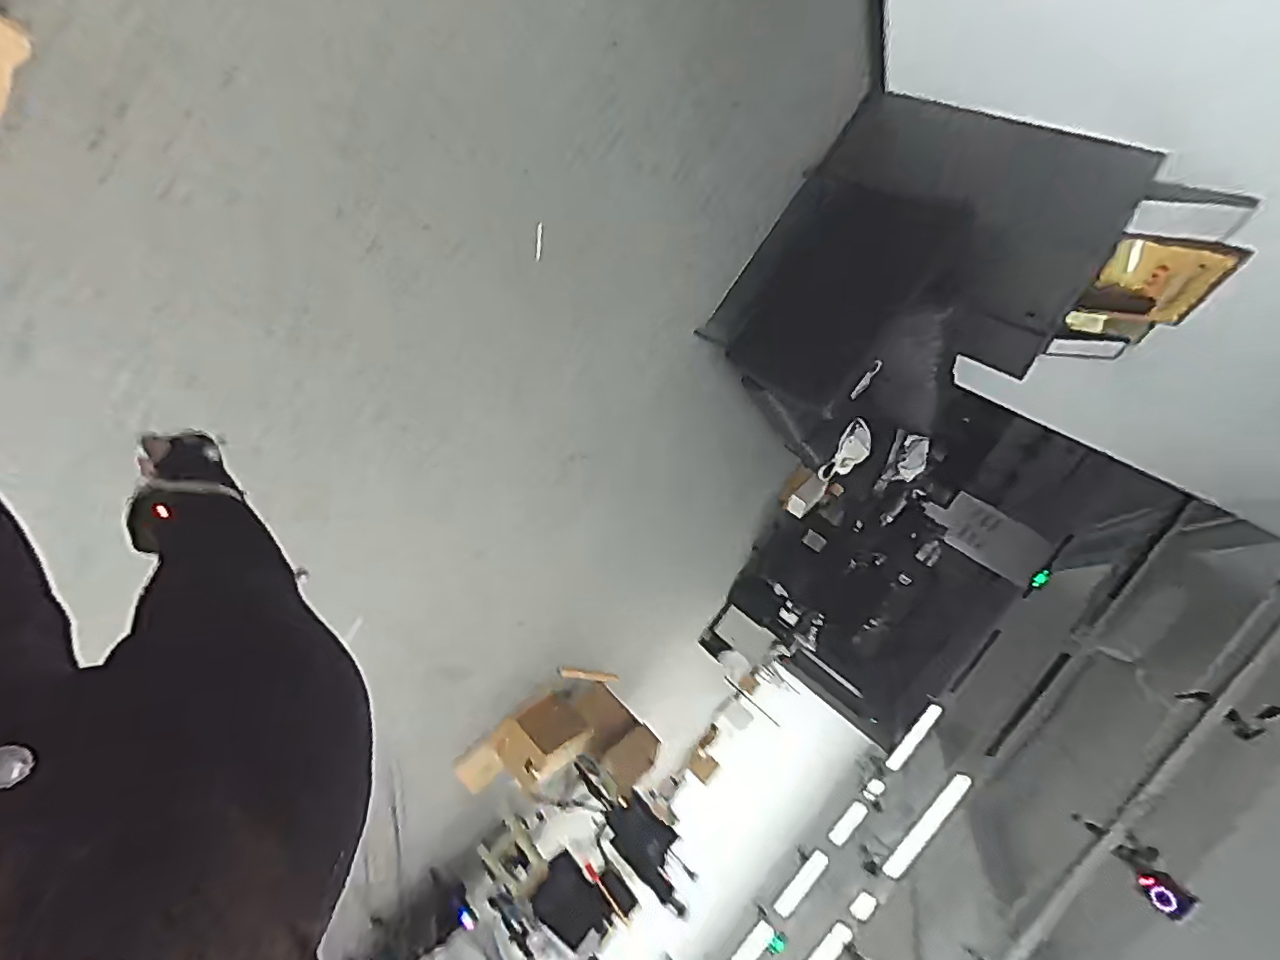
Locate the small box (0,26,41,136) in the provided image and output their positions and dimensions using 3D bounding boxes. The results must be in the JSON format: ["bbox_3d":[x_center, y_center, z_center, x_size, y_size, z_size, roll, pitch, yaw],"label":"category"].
[{"bbox_3d":[-0.851,-0.496,0.609,0.168,0.176,0.179,-57,154,5],"label":"small box"}]
